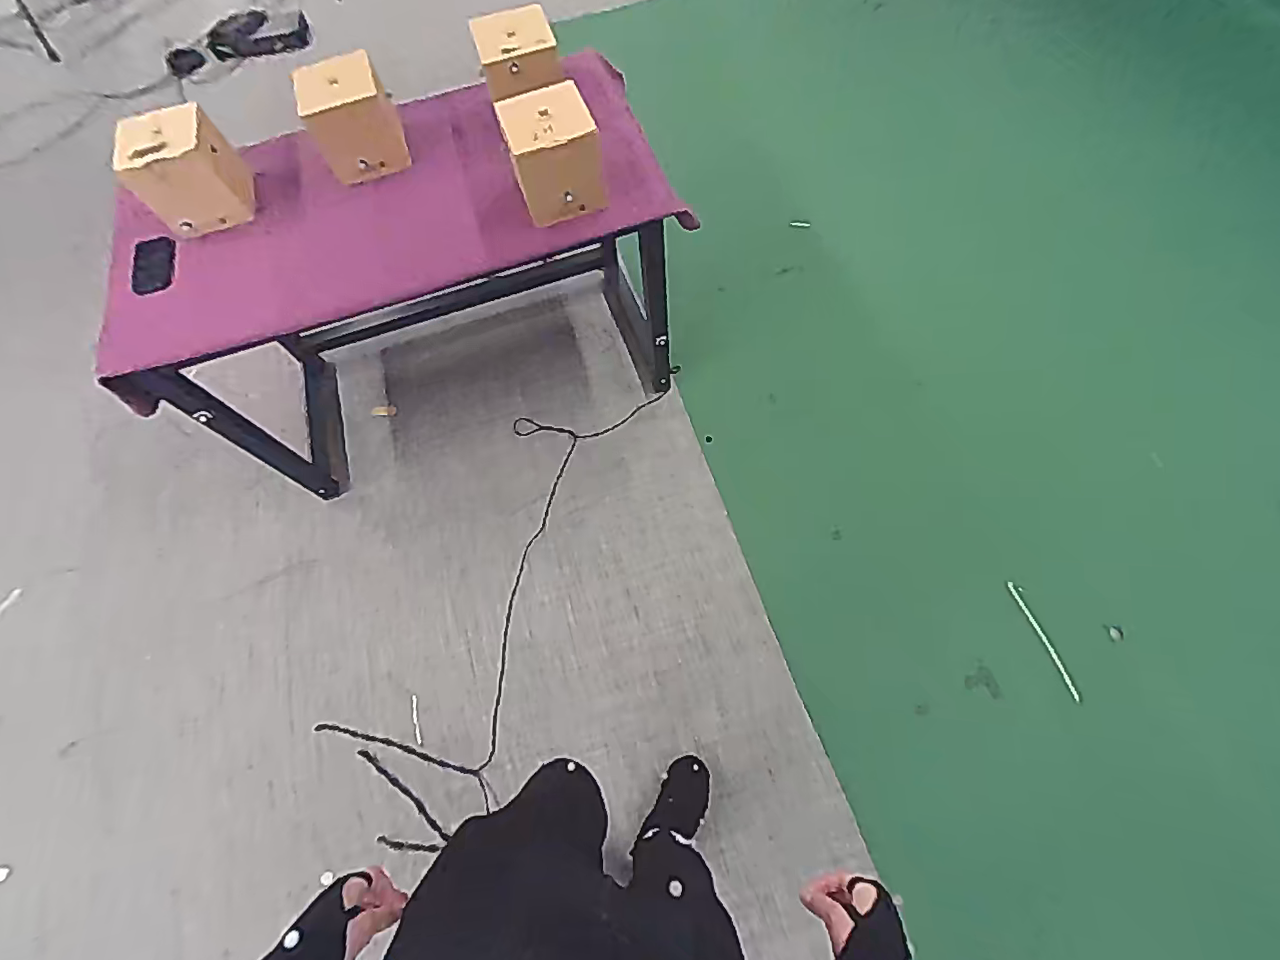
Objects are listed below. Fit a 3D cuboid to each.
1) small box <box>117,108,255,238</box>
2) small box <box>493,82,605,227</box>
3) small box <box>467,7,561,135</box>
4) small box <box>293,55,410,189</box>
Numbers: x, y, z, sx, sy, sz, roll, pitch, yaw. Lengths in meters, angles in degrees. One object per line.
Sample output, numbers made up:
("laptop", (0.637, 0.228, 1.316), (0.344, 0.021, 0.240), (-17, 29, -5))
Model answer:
("small box", (-0.980, -0.659, 1.181), (0.168, 0.176, 0.179), (-19, 65, -4))
("small box", (-0.181, -0.660, 1.108), (0.168, 0.176, 0.179), (-20, 66, -2))
("small box", (-0.276, -0.925, 1.238), (0.168, 0.176, 0.179), (-18, 66, -2))
("small box", (-0.644, -0.800, 1.217), (0.168, 0.176, 0.179), (-20, 67, -3))
